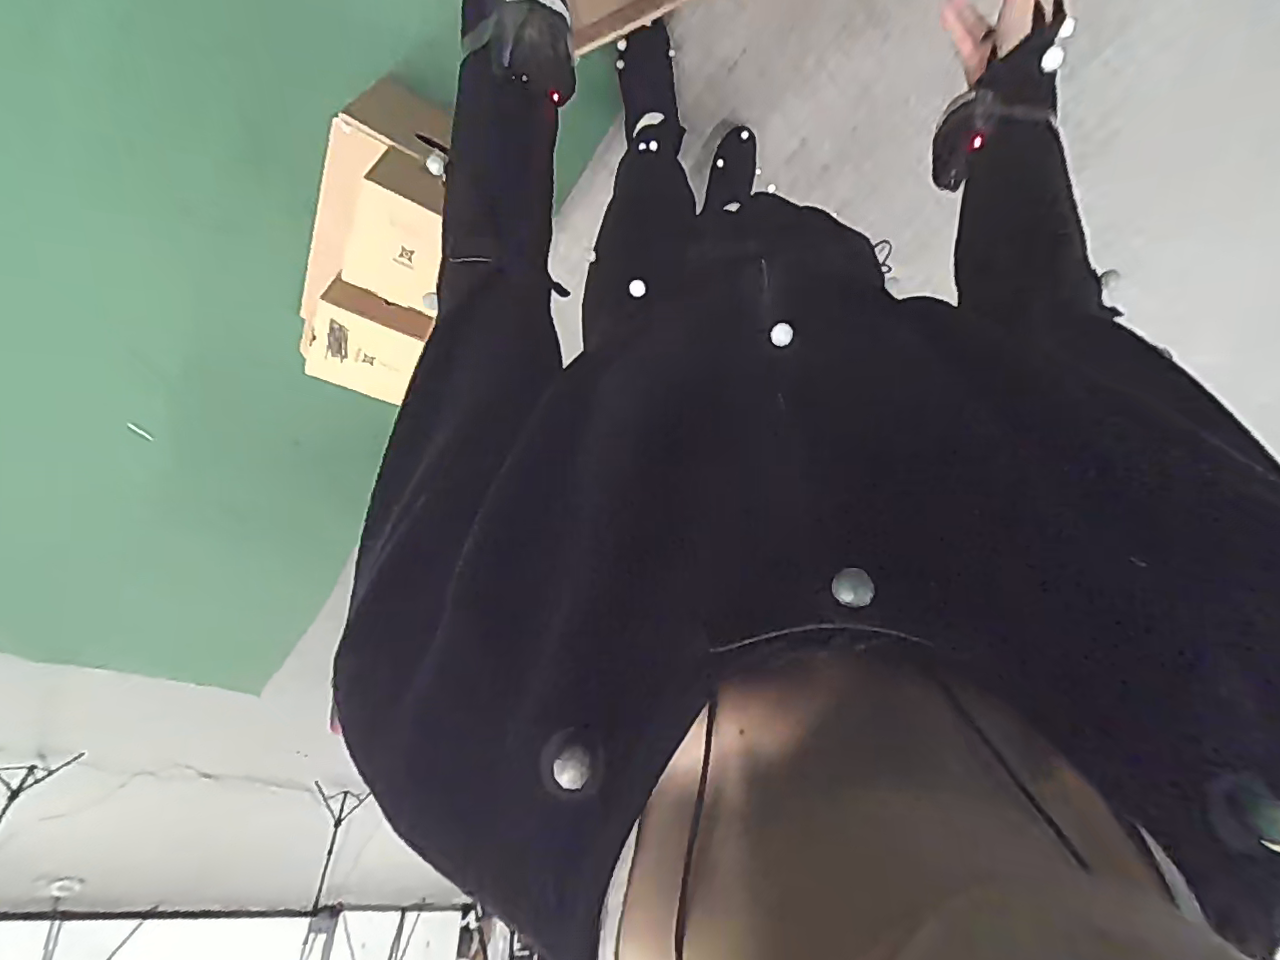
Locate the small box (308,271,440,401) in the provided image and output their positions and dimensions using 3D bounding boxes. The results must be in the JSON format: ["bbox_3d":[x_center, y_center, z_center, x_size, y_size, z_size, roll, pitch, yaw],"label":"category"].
[{"bbox_3d":[-0.496,-0.288,1.031,0.179,0.176,0.168,20,130,-24],"label":"small box"}]

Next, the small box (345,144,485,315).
[{"bbox_3d":[-0.371,-0.421,0.911,0.168,0.176,0.179,20,130,-25],"label":"small box"}]
